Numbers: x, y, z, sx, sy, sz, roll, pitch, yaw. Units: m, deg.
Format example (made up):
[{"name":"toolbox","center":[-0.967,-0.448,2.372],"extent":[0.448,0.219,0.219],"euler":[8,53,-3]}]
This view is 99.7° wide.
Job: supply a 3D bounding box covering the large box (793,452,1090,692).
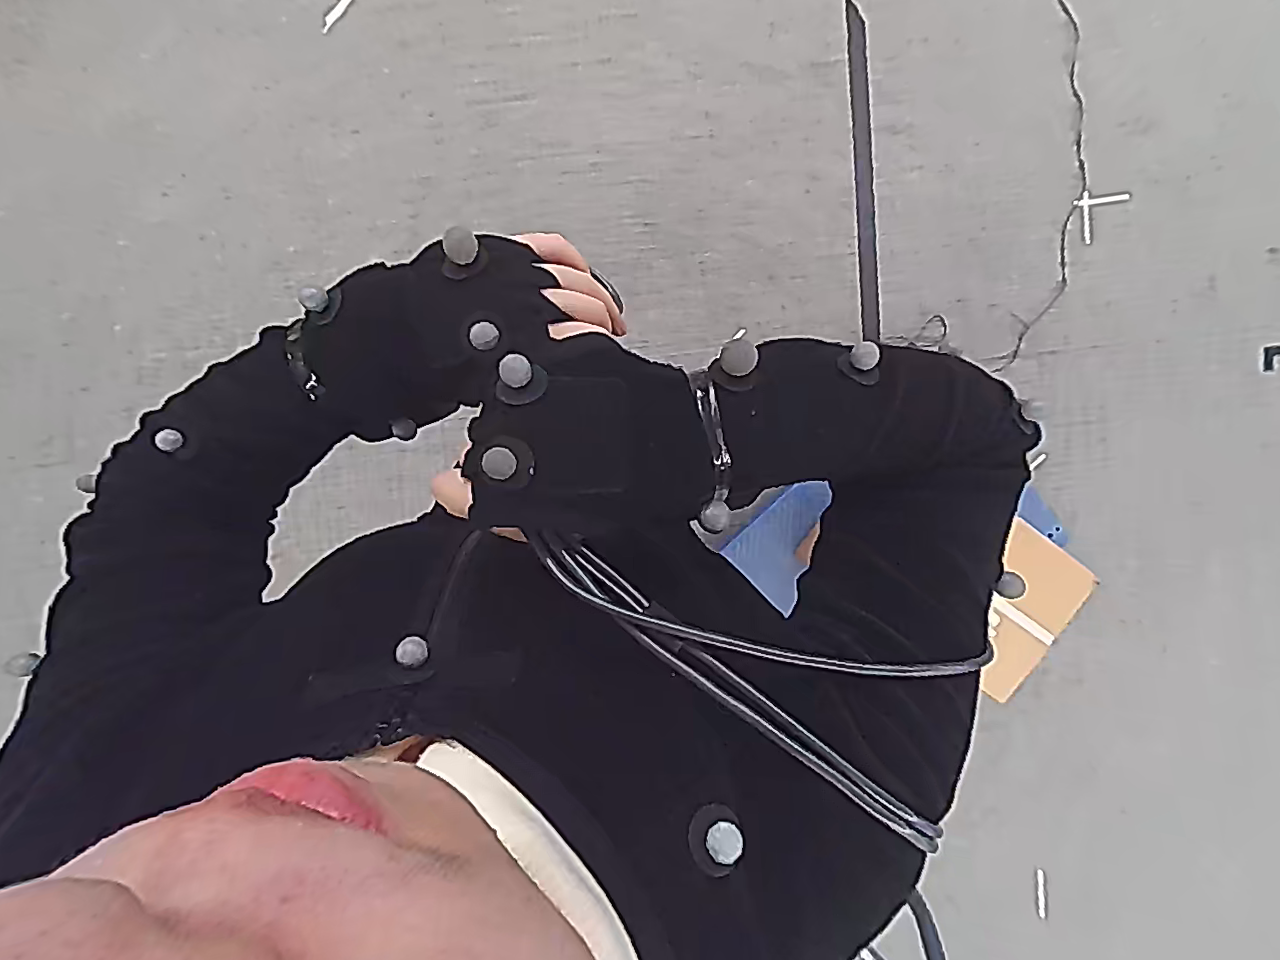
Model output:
[{"name":"large box","center":[0.622,0.173,1.190],"extent":[0.408,0.320,0.320],"euler":[36,94,-5]}]
